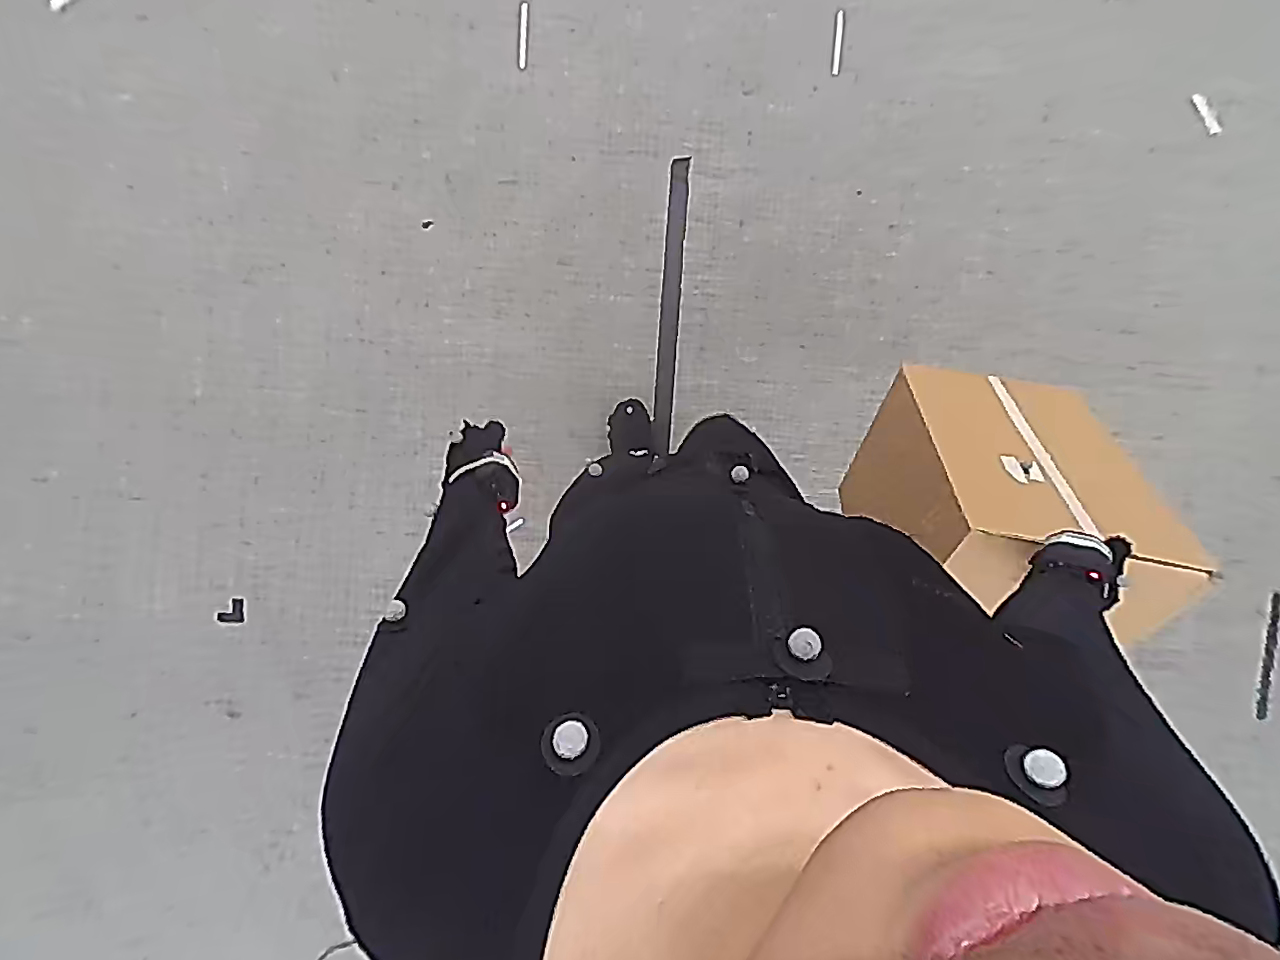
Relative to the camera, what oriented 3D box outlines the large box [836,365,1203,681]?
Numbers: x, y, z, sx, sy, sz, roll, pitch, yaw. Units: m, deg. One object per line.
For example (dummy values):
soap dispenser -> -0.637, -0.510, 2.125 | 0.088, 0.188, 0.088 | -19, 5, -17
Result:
large box -> 0.564, 0.064, 0.923 | 0.320, 0.408, 0.320 | 11, 134, 1
